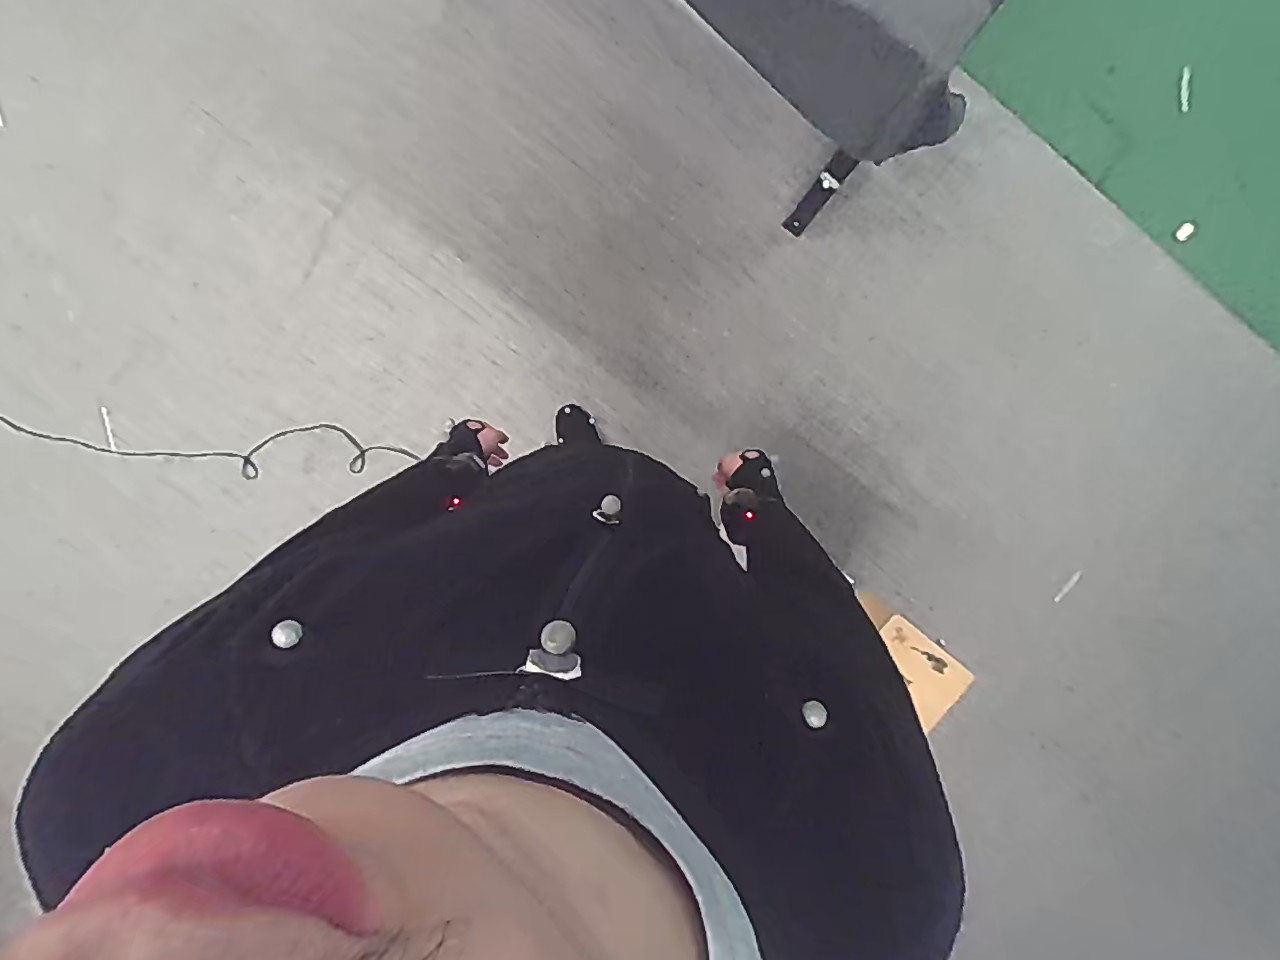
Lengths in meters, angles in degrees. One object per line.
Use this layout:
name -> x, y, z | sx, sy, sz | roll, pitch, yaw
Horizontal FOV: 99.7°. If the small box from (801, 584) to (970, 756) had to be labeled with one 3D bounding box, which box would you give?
small box -> 0.393, 0.307, 0.909 | 0.168, 0.176, 0.179 | 39, 96, -4
